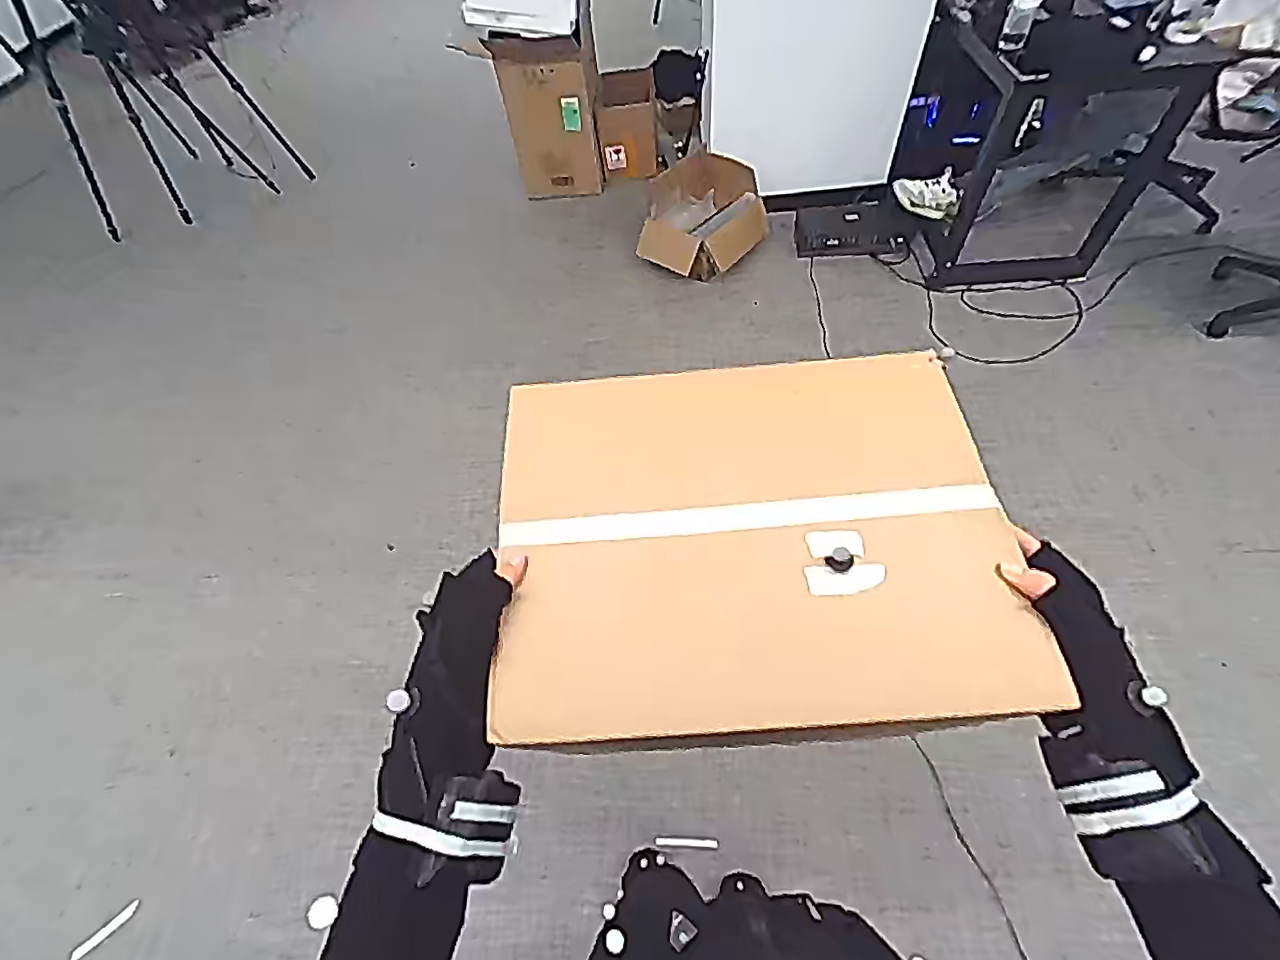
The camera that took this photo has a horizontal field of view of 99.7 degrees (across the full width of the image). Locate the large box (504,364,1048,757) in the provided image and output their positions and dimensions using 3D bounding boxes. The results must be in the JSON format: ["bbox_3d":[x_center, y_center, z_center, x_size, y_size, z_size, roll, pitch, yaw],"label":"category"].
[{"bbox_3d":[0.094,0.109,0.590,0.408,0.320,0.320,-5,61,2],"label":"large box"}]
